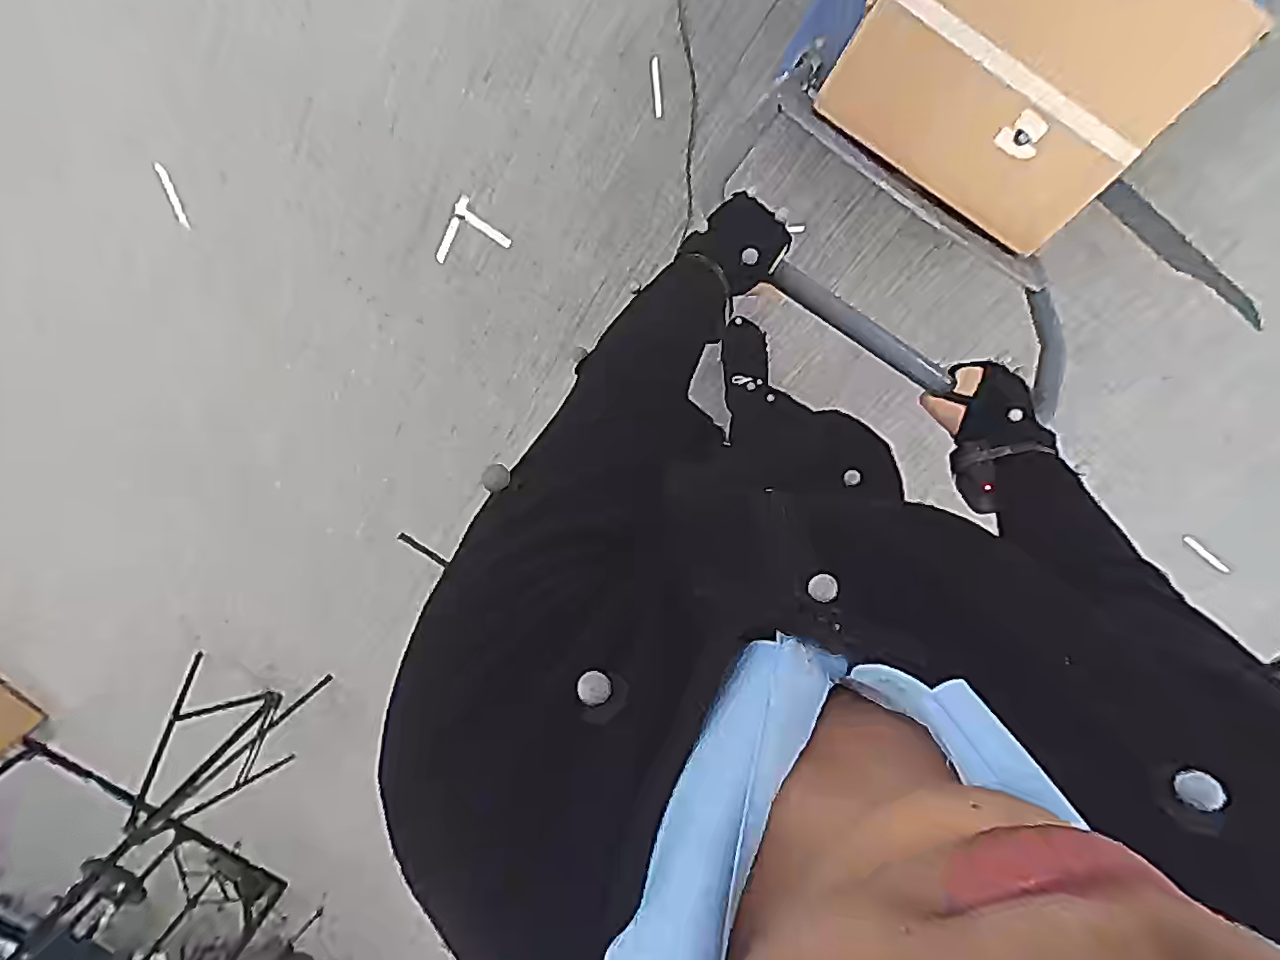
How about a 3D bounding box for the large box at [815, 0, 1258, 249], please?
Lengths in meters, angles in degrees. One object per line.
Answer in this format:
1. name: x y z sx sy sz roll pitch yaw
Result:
1. large box: 0.535 -0.638 0.824 0.408 0.320 0.320 31 135 -5
